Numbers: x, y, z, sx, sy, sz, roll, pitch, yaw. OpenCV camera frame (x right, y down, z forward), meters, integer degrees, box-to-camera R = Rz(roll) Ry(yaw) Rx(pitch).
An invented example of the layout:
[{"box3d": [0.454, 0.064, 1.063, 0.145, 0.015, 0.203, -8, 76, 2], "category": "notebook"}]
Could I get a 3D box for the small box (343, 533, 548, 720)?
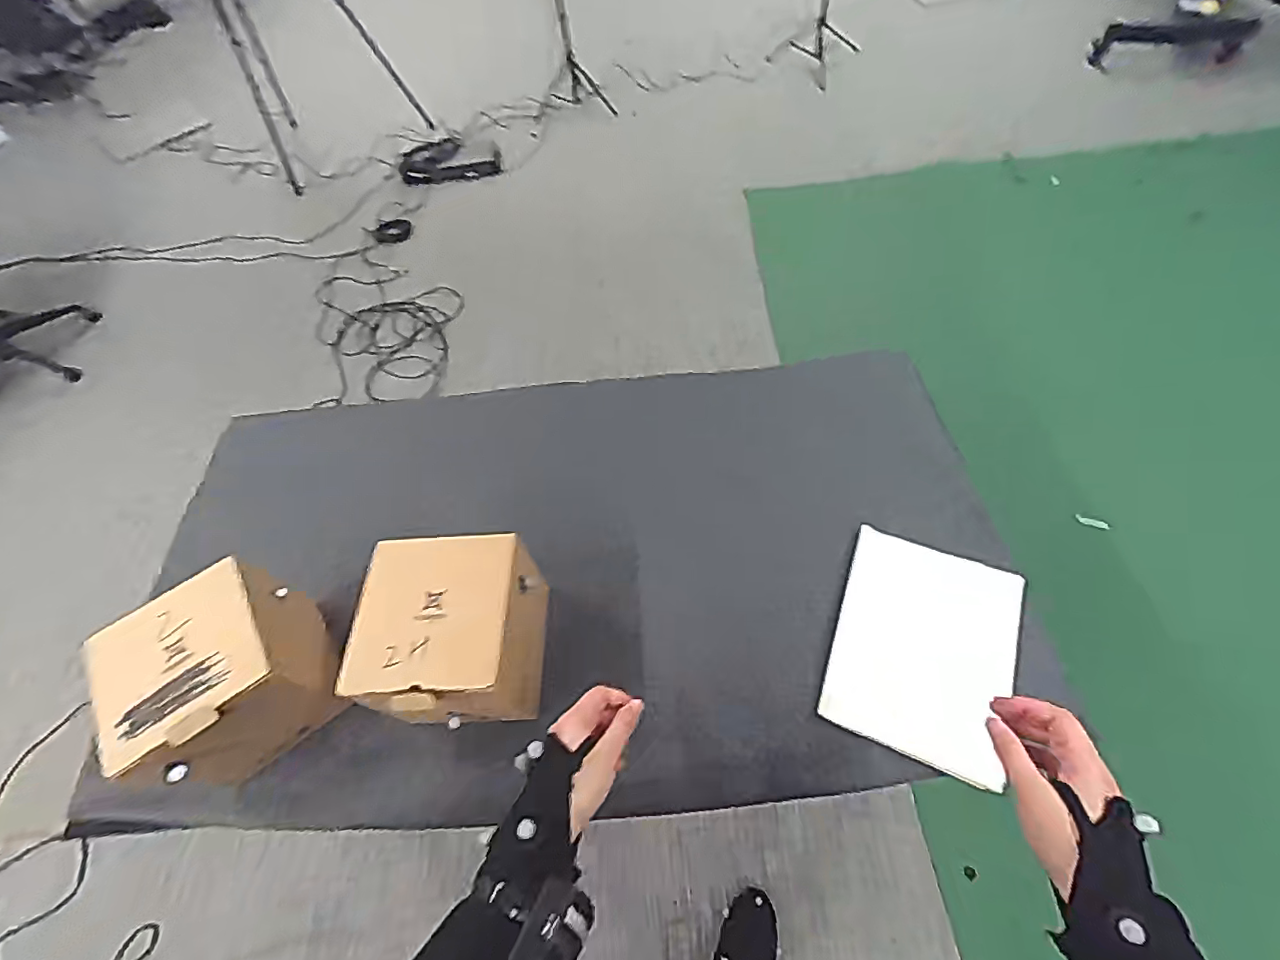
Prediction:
[{"box3d": [-0.214, 0.181, 0.654, 0.168, 0.176, 0.179, -4, 57, 5], "category": "small box"}]
